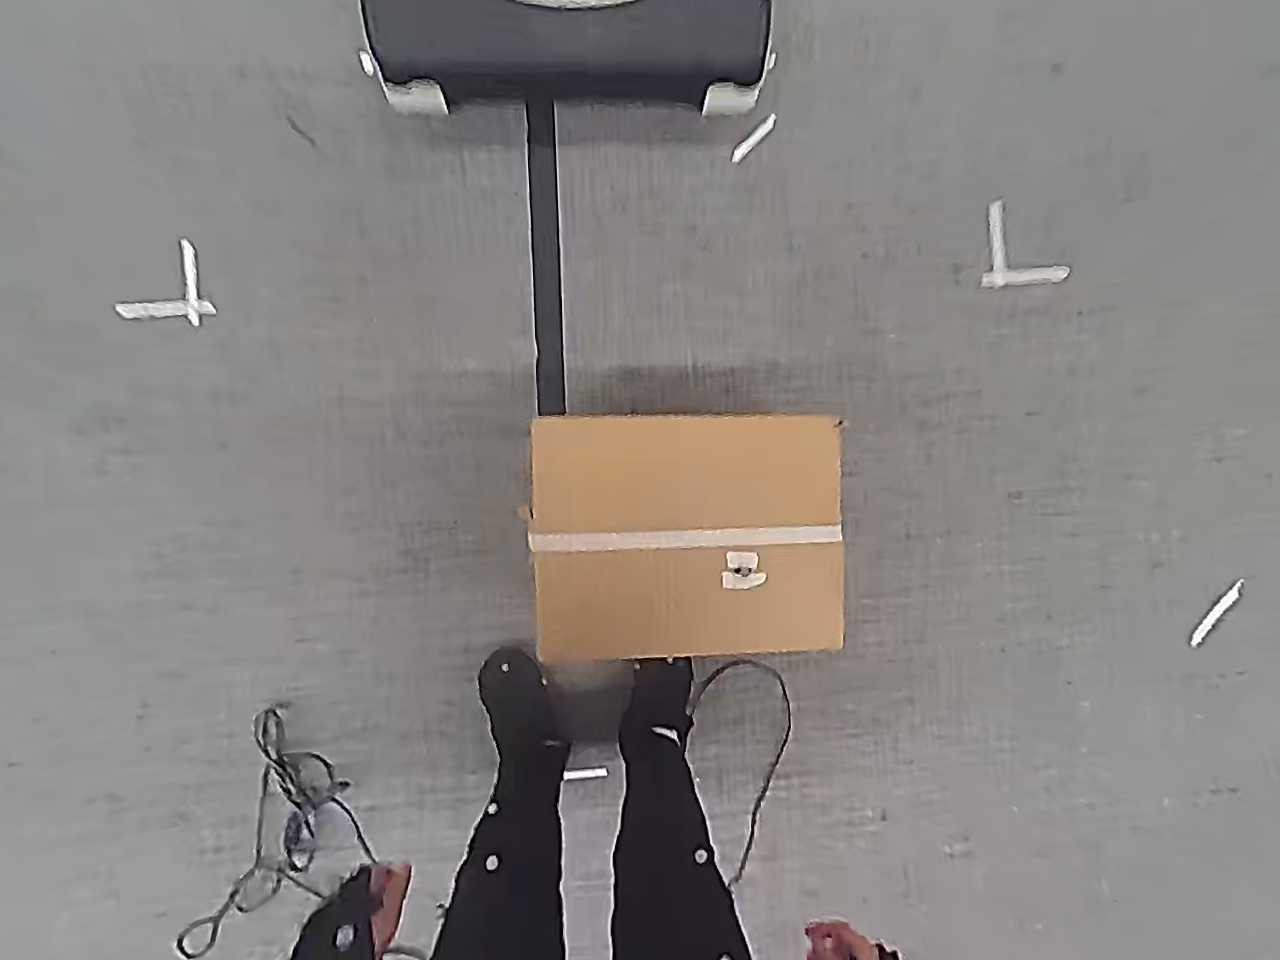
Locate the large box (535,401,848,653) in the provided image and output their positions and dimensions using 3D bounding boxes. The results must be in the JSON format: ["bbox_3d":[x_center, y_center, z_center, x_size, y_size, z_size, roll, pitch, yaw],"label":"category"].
[{"bbox_3d":[0.057,0.055,0.836,0.408,0.320,0.320,-1,92,-6],"label":"large box"}]
